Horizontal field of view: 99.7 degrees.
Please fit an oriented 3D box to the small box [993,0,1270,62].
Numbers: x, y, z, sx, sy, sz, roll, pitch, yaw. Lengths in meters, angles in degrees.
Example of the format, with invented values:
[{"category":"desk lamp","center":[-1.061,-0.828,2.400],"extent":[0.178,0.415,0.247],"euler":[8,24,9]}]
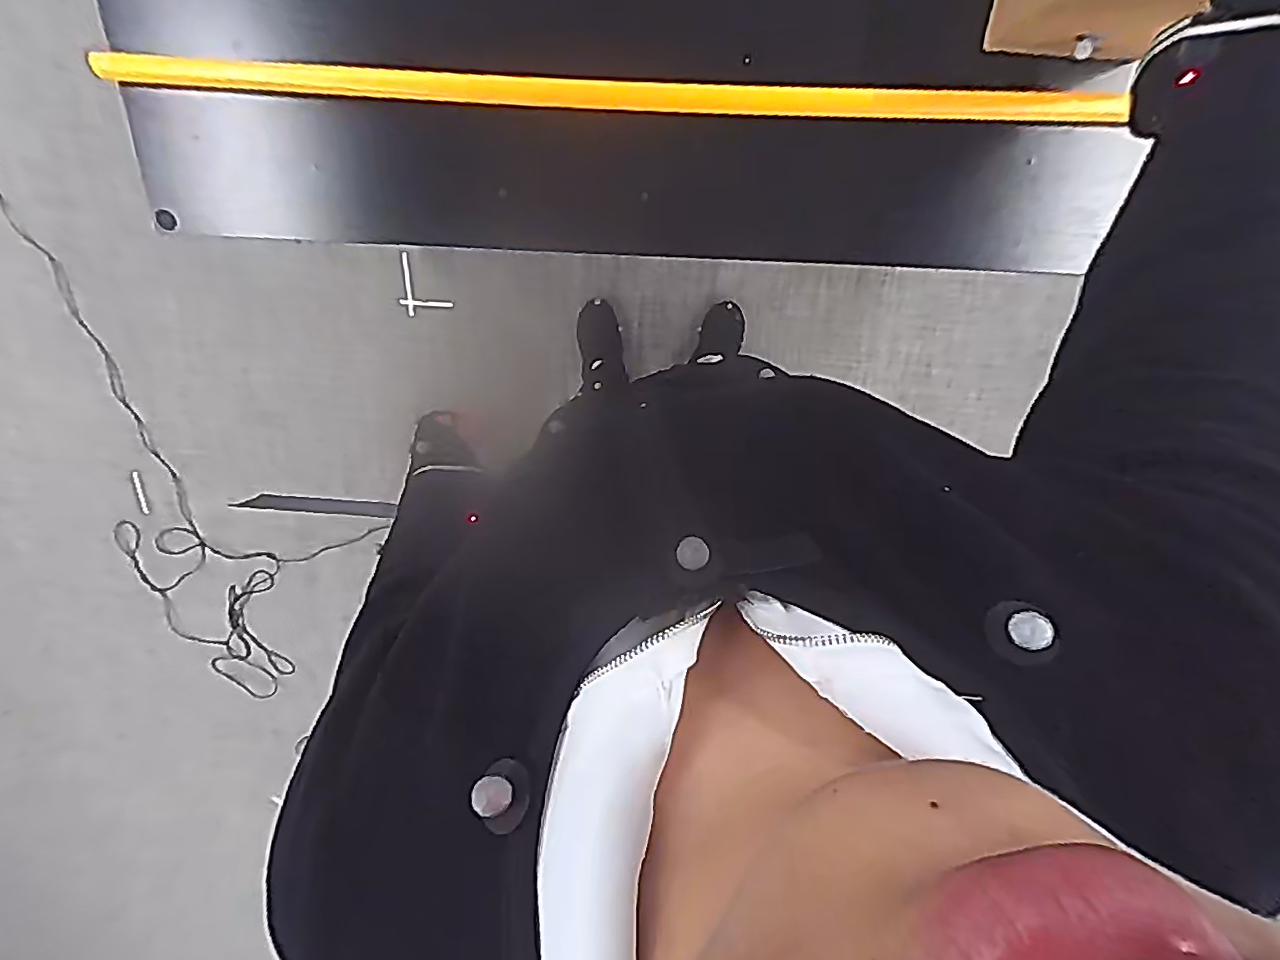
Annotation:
[{"category":"small box","center":[0.449,-0.503,0.466],"extent":[0.168,0.176,0.179],"euler":[6,112,1]}]
